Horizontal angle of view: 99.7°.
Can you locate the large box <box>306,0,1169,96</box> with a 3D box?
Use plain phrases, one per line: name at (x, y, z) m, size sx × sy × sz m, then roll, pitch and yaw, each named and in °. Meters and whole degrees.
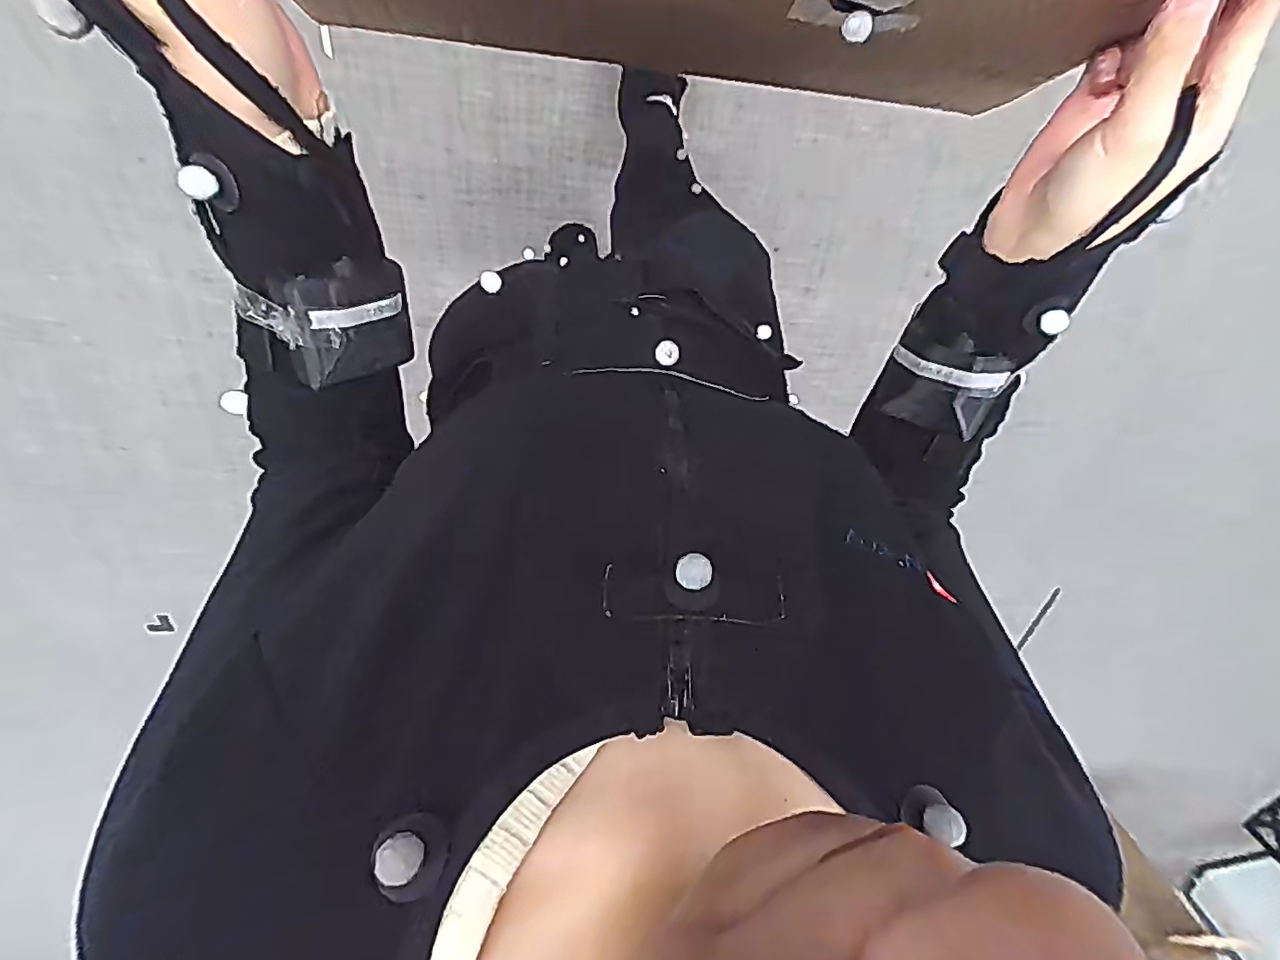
large box at (0.042, -0.353, 0.141) m, size 0.408 × 0.320 × 0.320 m, roll 1°, pitch 109°, yaw -7°
